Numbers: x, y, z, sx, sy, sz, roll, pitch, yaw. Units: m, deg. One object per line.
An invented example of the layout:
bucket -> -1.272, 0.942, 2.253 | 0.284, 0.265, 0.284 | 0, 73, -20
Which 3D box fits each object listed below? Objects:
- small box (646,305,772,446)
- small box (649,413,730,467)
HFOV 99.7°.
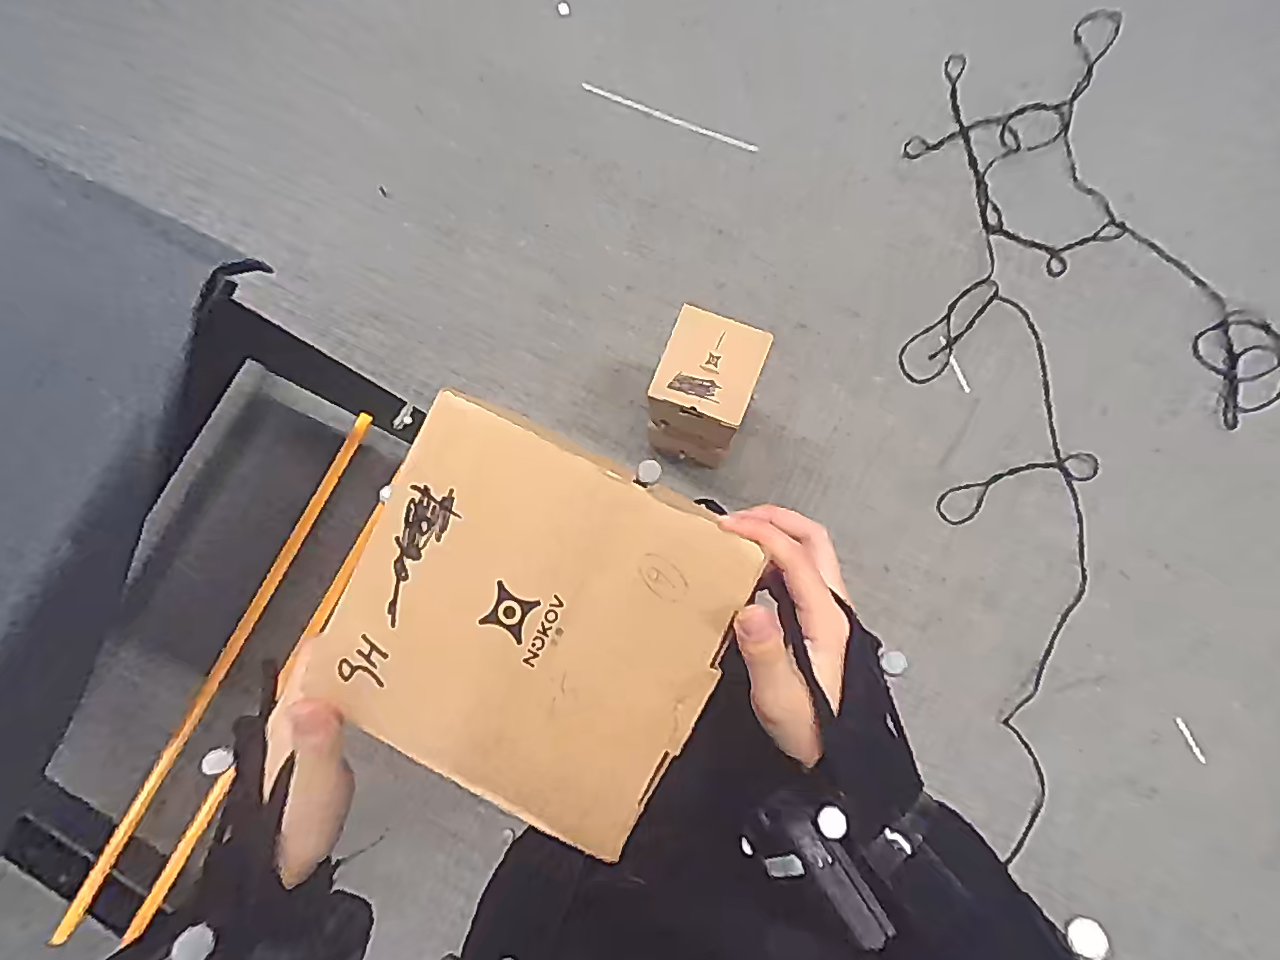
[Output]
small box -> 0.121, -0.179, 0.982 | 0.168, 0.176, 0.179 | 21, 82, 6
small box -> 0.125, -0.144, 1.143 | 0.168, 0.176, 0.179 | 20, 84, 7
